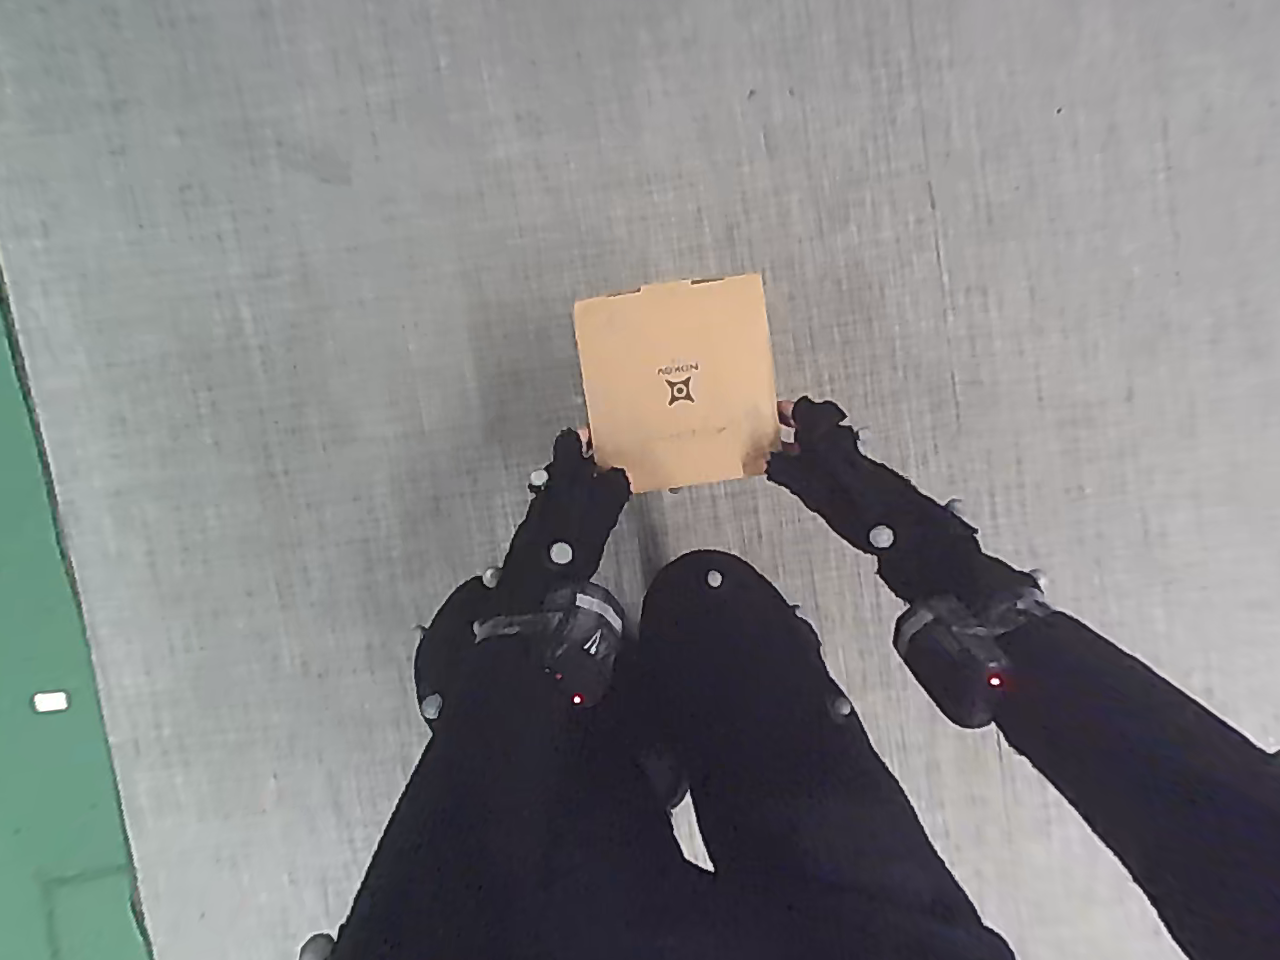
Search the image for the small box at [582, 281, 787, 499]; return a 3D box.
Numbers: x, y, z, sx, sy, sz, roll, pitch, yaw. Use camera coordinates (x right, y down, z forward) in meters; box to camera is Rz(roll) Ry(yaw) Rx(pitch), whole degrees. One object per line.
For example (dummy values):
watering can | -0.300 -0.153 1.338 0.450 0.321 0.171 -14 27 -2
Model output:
small box | 0.041 -0.084 0.558 0.168 0.176 0.179 -9 95 3
